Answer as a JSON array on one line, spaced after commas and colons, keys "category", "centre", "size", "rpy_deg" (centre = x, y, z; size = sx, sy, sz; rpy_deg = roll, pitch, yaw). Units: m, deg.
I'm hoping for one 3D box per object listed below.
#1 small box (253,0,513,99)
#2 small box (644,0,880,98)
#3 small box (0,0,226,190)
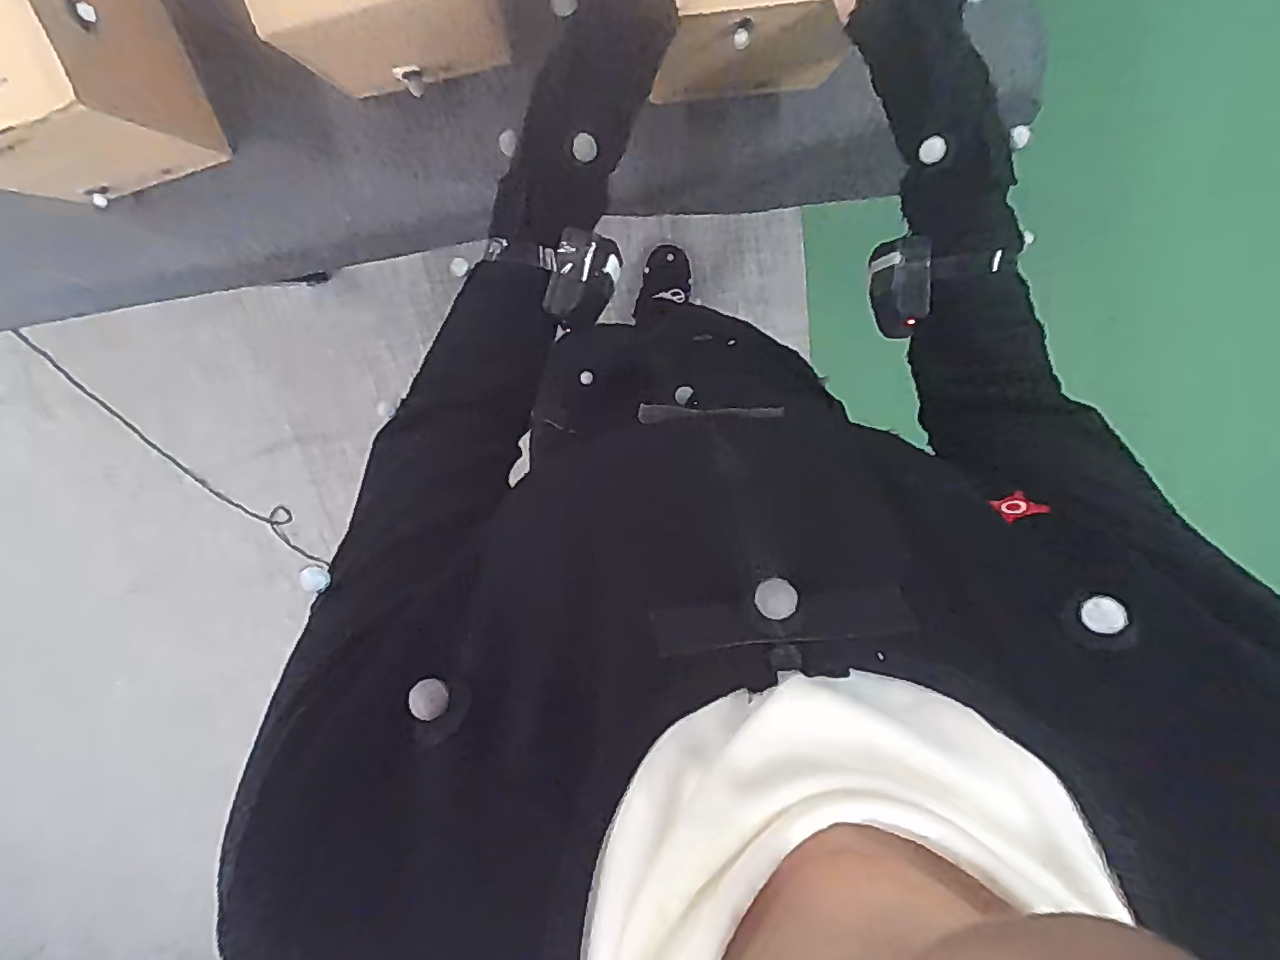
[{"category": "small box", "centre": [-0.219, -0.454, 0.443], "size": [0.168, 0.176, 0.179], "rpy_deg": [-12, 111, 4]}, {"category": "small box", "centre": [0.083, -0.432, 0.417], "size": [0.168, 0.176, 0.179], "rpy_deg": [-4, 108, 3]}, {"category": "small box", "centre": [-0.516, -0.368, 0.462], "size": [0.168, 0.176, 0.179], "rpy_deg": [-15, 108, 3]}]
